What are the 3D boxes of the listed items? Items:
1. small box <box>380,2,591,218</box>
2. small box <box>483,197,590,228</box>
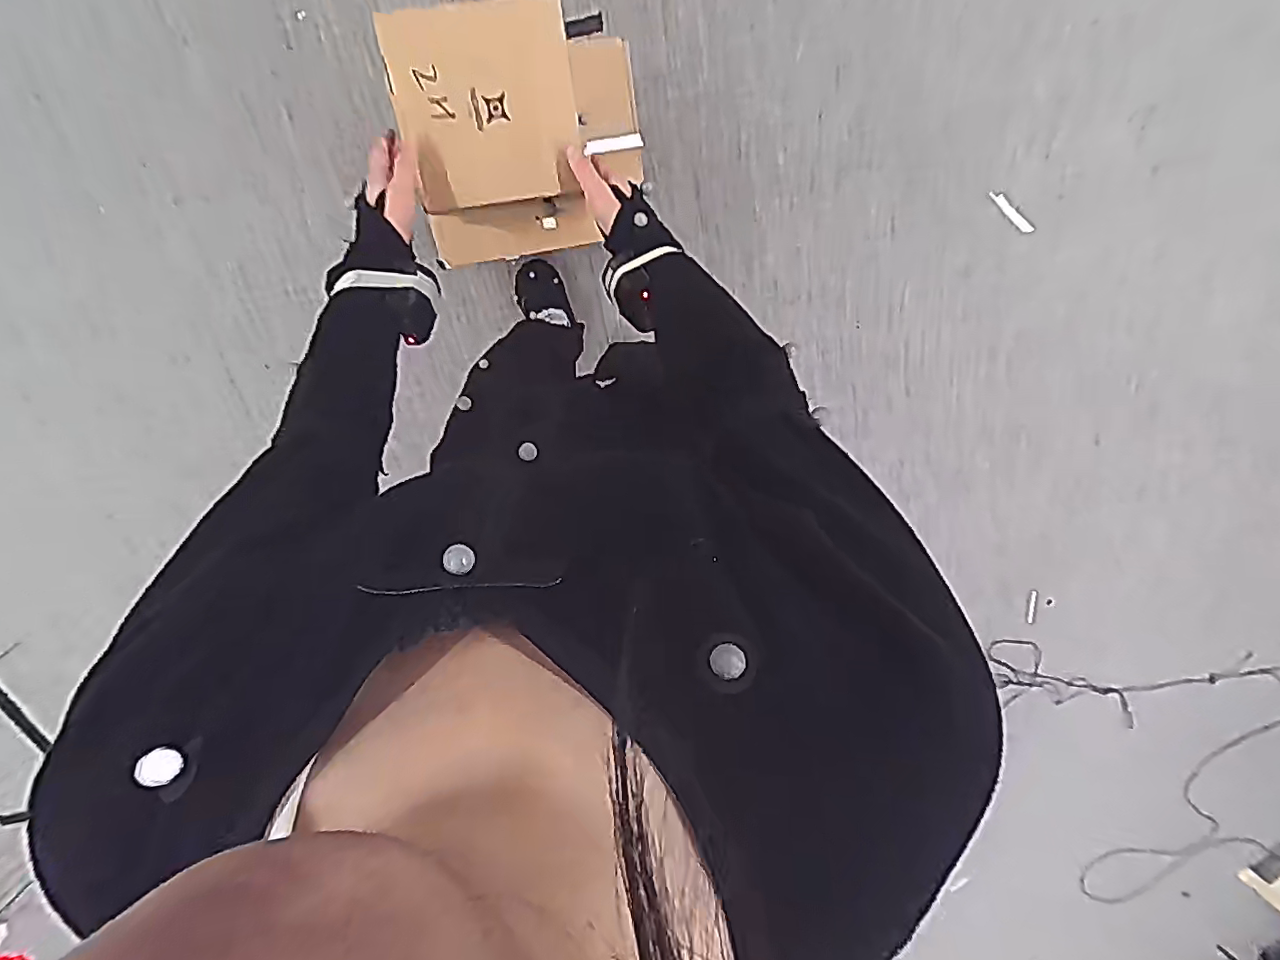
[{"bbox_3d":[-0.155,-0.396,0.607,0.179,0.176,0.168,-9,115,-2],"label":"small box"},{"bbox_3d":[-0.185,-0.527,0.907,0.179,0.176,0.168,-13,115,-1],"label":"small box"}]
